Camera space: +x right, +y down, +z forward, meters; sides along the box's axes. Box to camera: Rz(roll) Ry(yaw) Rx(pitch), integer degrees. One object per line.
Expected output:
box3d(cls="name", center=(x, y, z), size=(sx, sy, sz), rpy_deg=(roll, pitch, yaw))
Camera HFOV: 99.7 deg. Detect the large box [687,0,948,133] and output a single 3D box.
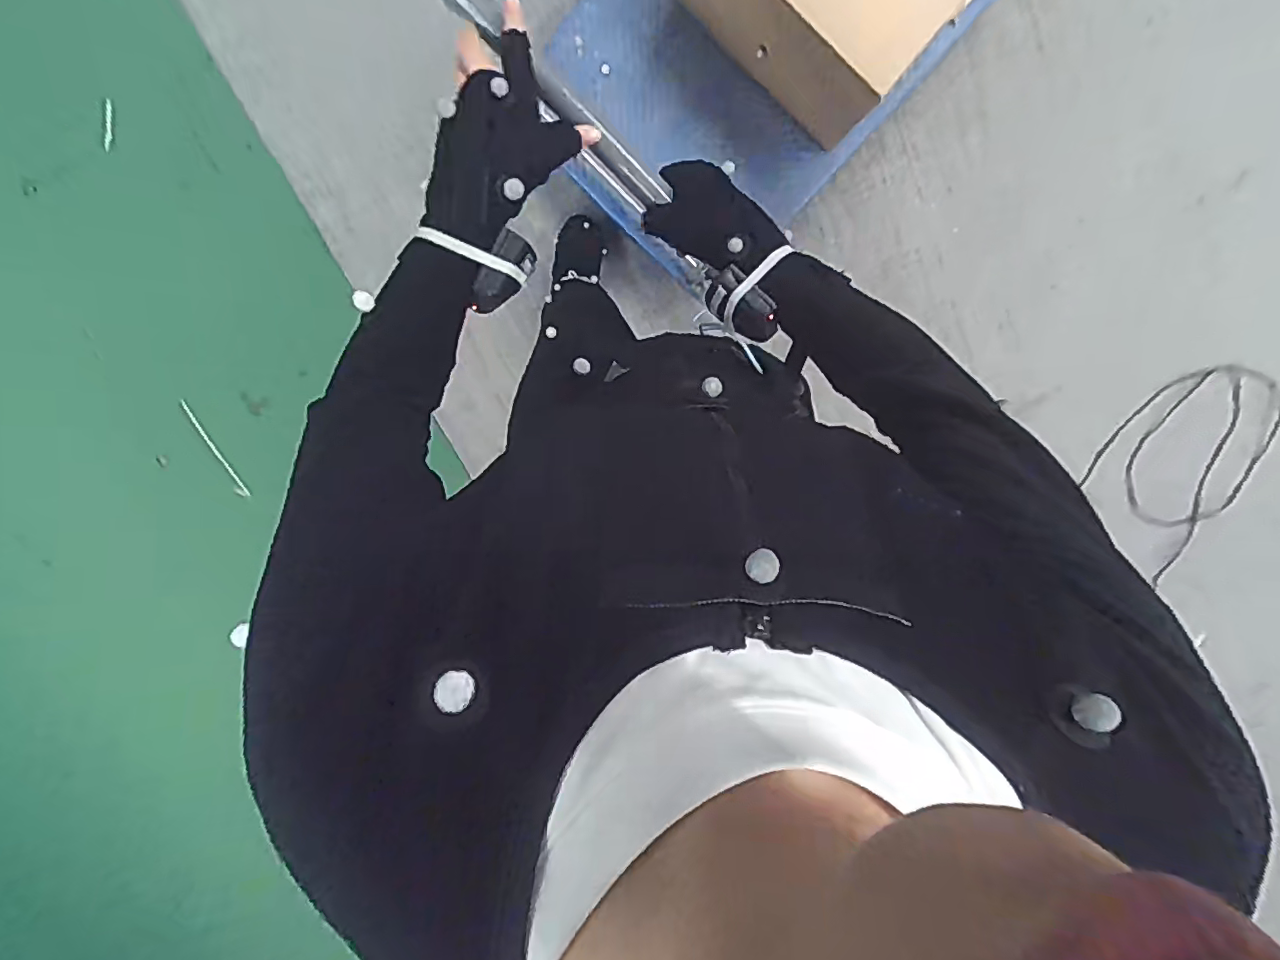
box3d(cls="large box", center=(0.305, -0.854, 0.855), size=(0.408, 0.320, 0.320), rpy_deg=(38, 108, -7))
